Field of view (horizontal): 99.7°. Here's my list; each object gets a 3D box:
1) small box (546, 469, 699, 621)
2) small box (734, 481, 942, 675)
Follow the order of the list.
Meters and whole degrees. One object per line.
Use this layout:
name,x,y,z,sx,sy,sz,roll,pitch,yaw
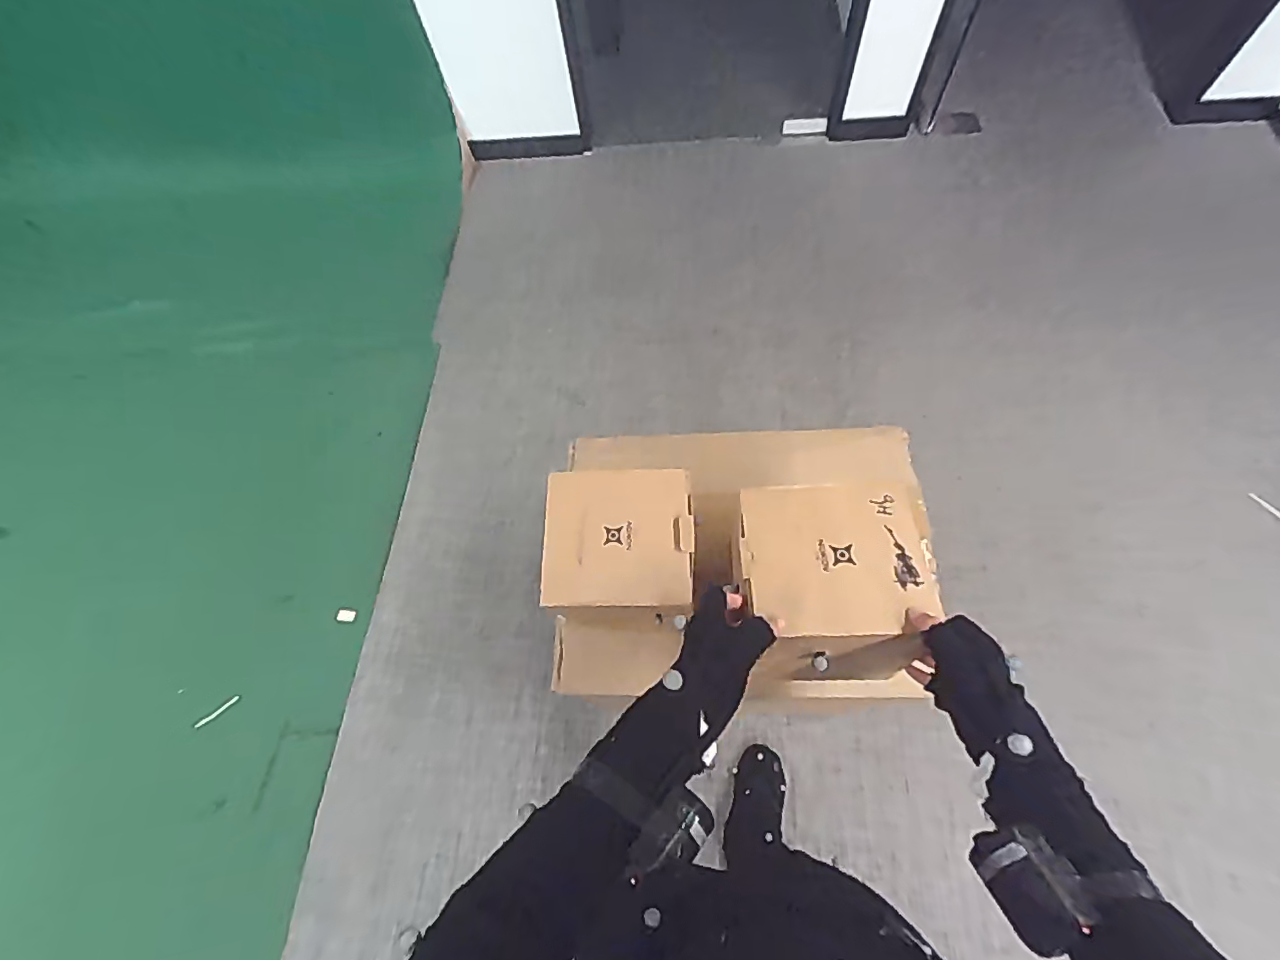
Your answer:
small box,-0.014,0.092,0.713,0.179,0.176,0.168,-3,69,6
small box,0.201,0.117,0.612,0.179,0.176,0.168,-3,56,4
